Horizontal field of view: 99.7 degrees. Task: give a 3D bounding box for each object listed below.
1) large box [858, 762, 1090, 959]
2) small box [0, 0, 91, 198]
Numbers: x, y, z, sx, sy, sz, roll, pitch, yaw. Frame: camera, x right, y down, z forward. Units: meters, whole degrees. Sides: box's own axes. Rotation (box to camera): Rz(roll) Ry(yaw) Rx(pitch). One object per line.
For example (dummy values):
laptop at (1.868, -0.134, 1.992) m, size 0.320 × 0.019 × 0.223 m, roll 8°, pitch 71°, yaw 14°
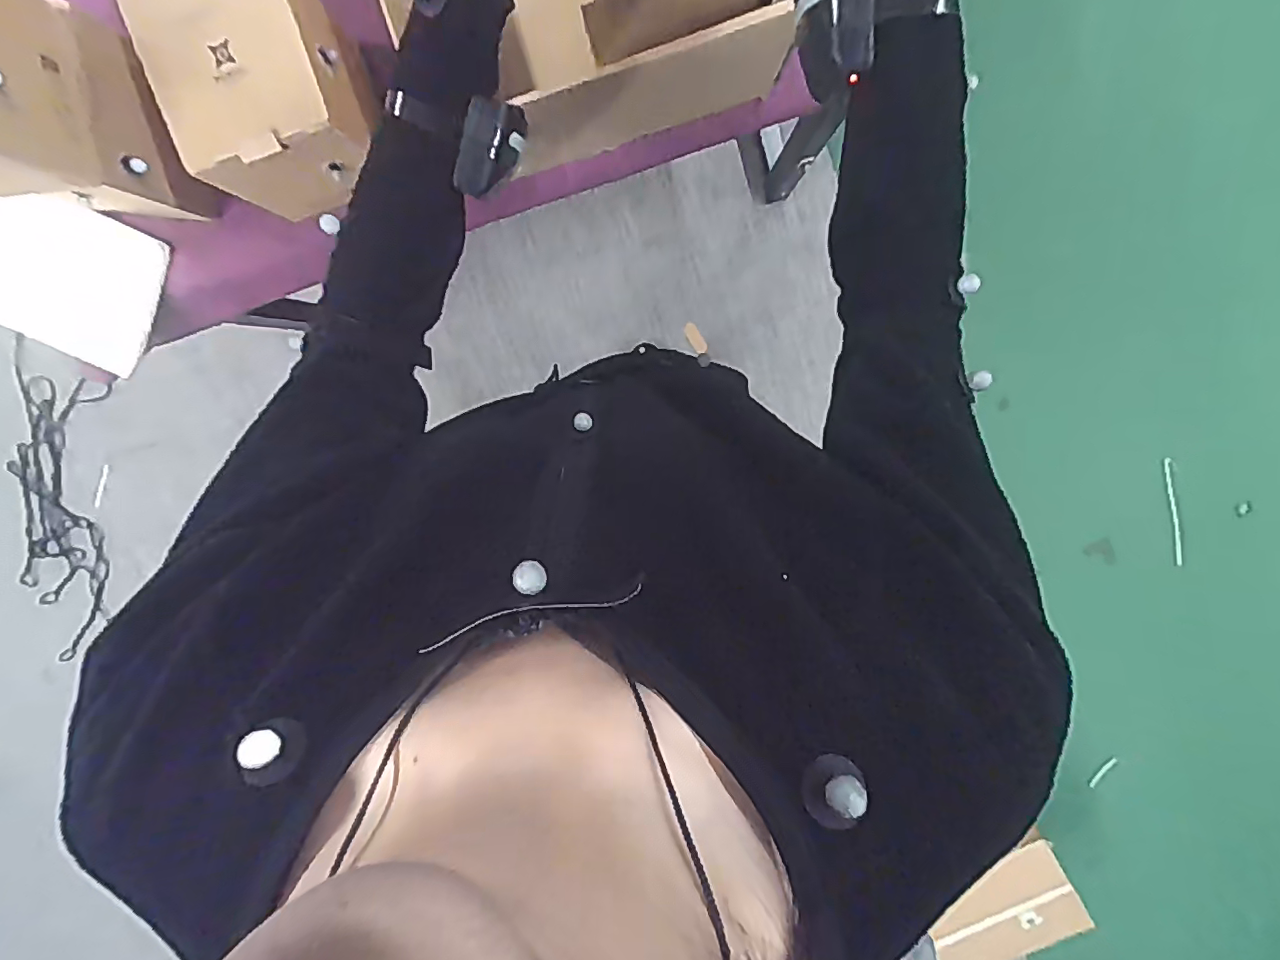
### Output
large box at (0.916, 1.106, 1.539) m, size 0.408 × 0.320 × 0.320 m, roll -32°, pitch 99°, yaw 6°
small box at (-0.646, -0.362, 0.474) m, size 0.179 × 0.176 × 0.168 m, roll -3°, pitch 101°, yaw 3°
